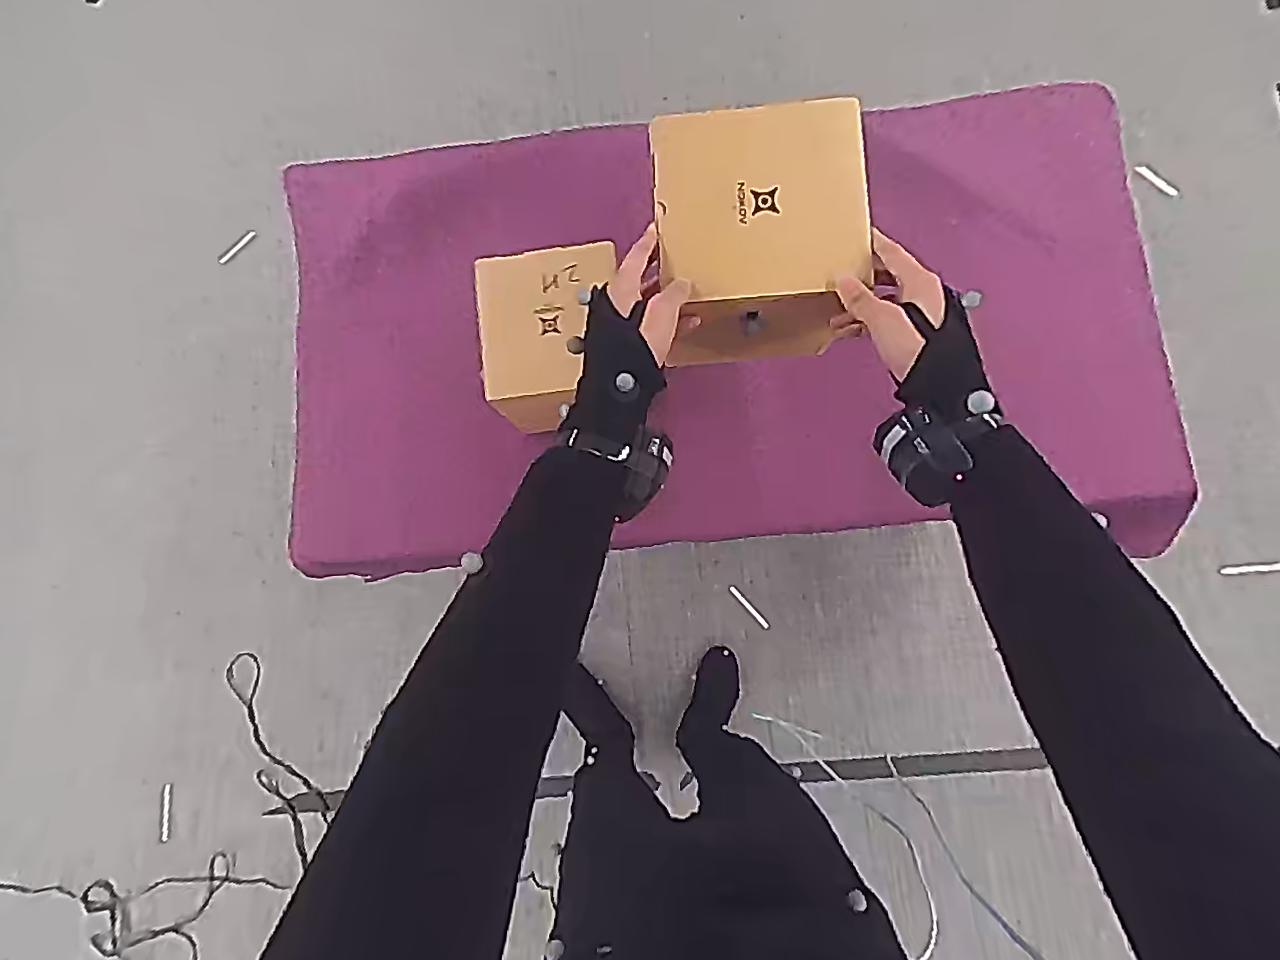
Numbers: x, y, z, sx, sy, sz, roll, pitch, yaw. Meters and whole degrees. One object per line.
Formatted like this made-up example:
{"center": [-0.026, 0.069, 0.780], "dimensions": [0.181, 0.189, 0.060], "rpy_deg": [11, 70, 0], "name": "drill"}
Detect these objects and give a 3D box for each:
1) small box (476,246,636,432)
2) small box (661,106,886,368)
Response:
{"center": [-0.097, -0.165, 0.691], "dimensions": [0.168, 0.176, 0.179], "rpy_deg": [-7, 81, 2], "name": "small box"}
{"center": [0.113, -0.213, 0.520], "dimensions": [0.179, 0.176, 0.168], "rpy_deg": [-3, 85, 6], "name": "small box"}
